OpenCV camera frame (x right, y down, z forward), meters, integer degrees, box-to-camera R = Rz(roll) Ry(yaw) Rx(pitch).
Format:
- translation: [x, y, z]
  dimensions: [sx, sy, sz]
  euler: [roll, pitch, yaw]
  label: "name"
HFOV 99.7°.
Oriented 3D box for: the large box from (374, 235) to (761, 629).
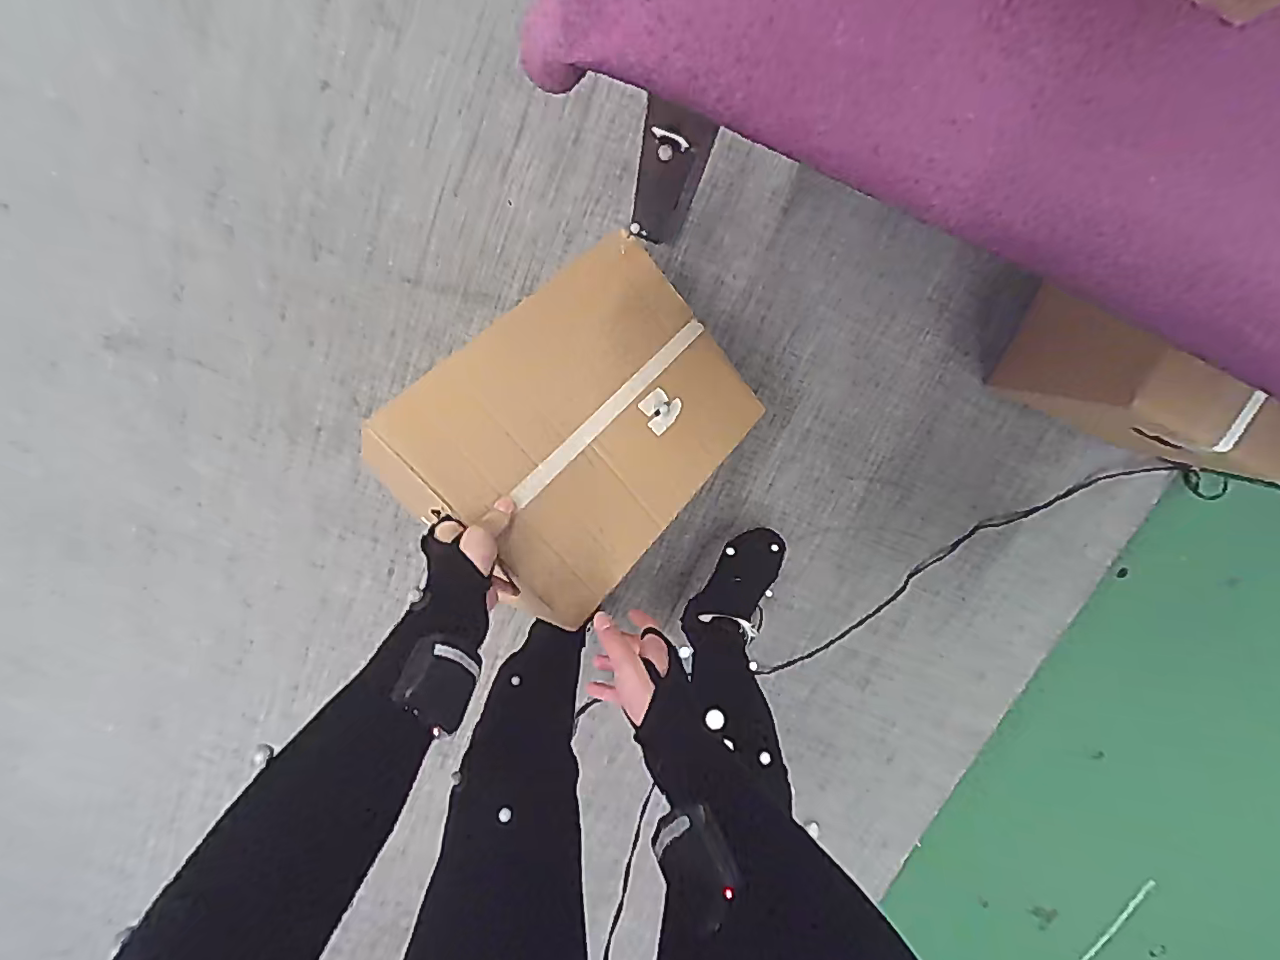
- translation: [-0.112, -0.054, 0.780]
  dimensions: [0.320, 0.320, 0.408]
  euler: [49, 65, -14]
  label: "large box"
